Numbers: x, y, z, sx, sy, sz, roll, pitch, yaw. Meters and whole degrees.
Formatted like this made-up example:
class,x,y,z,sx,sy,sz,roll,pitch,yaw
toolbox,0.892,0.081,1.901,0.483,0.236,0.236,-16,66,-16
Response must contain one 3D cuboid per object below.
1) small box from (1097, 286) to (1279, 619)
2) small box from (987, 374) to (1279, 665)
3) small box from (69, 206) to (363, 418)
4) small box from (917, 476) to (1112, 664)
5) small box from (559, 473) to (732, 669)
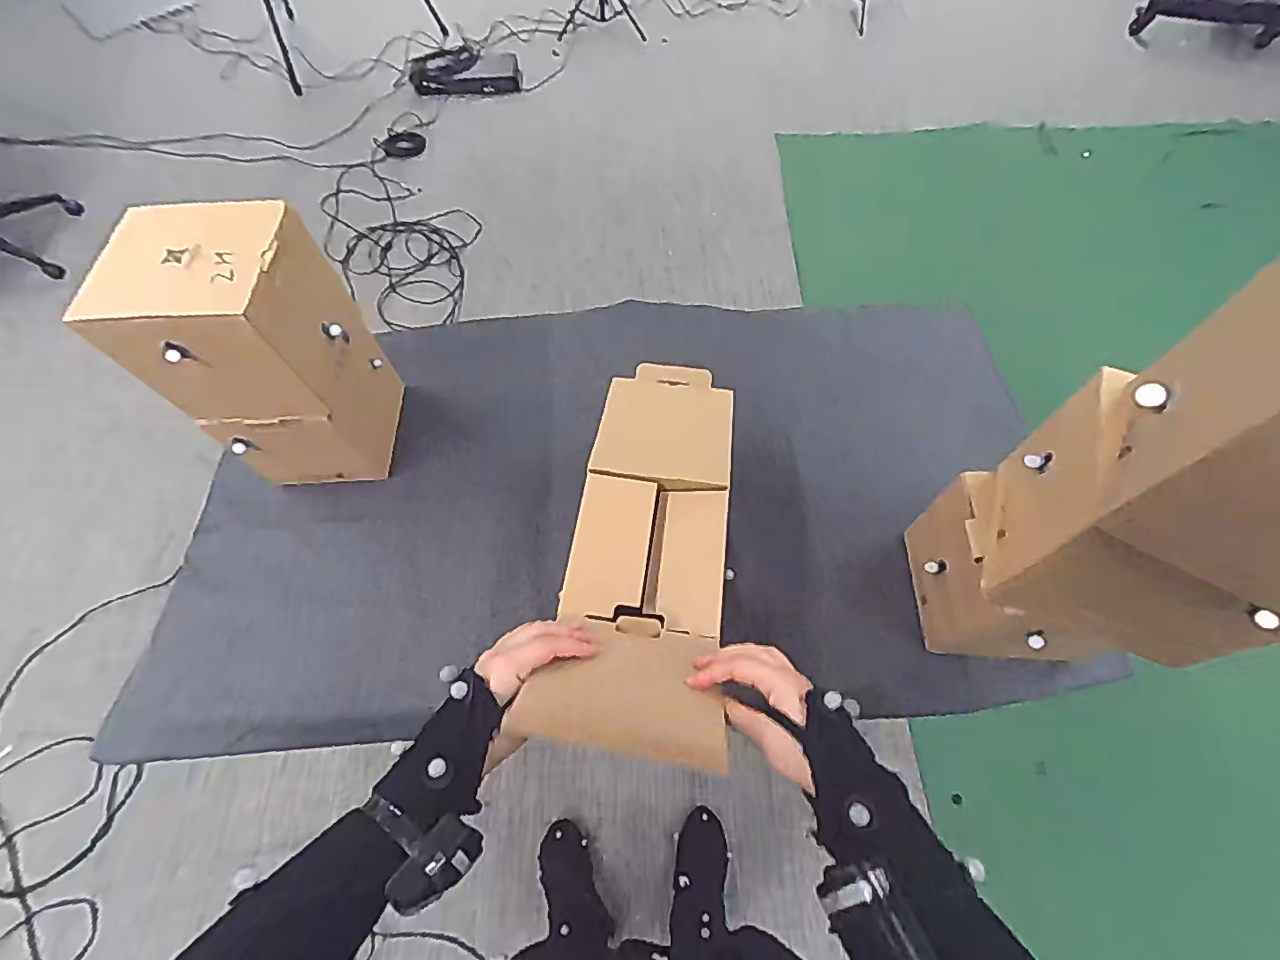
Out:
class,x,y,z,sx,sy,sz,roll,pitch,yaw
small box,0.437,-0.019,0.321,0.179,0.176,0.168,31,65,18
small box,0.443,0.042,0.475,0.179,0.176,0.168,22,63,13
small box,-0.455,-0.182,0.617,0.179,0.176,0.168,-2,64,0
small box,0.444,0.109,0.625,0.179,0.176,0.168,2,60,4
small box,0.011,0.114,0.639,0.168,0.176,0.179,7,61,3
